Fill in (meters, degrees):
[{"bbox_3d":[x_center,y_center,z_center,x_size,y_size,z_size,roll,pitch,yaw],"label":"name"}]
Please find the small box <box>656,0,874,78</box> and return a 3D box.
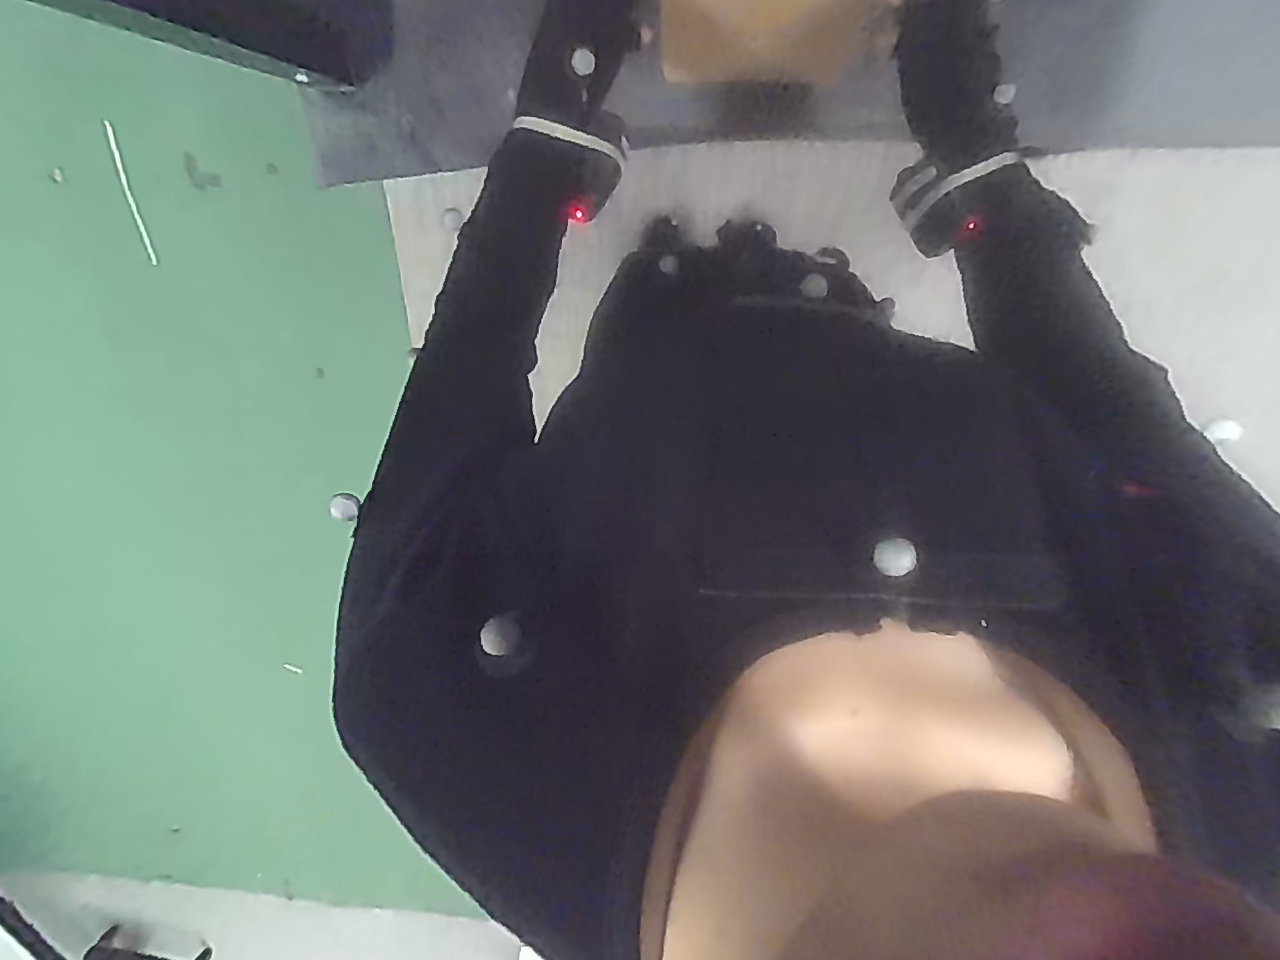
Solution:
[{"bbox_3d":[0.100,-0.444,0.425,0.168,0.179,0.176,4,106,3],"label":"small box"}]
